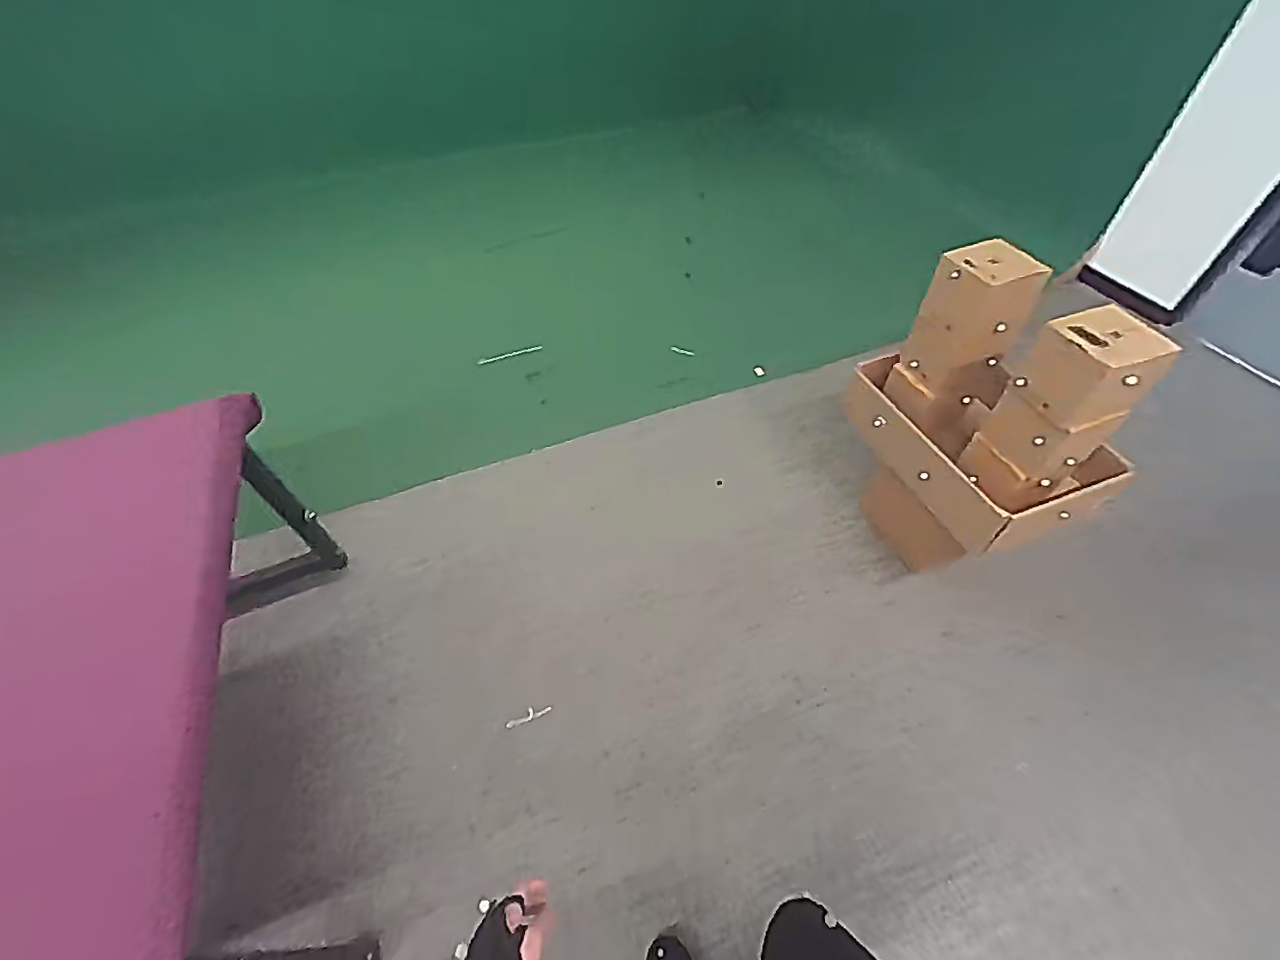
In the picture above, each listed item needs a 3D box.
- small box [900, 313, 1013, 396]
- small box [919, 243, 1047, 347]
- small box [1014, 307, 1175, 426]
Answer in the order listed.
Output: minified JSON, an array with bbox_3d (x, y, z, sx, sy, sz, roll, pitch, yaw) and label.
[{"bbox_3d":[0.846,-0.354,1.467,0.179,0.176,0.168,-15,51,-9],"label":"small box"},{"bbox_3d":[0.838,-0.458,1.340,0.179,0.176,0.168,-17,51,-13],"label":"small box"},{"bbox_3d":[0.945,-0.237,1.151,0.179,0.176,0.168,-16,53,-10],"label":"small box"}]
